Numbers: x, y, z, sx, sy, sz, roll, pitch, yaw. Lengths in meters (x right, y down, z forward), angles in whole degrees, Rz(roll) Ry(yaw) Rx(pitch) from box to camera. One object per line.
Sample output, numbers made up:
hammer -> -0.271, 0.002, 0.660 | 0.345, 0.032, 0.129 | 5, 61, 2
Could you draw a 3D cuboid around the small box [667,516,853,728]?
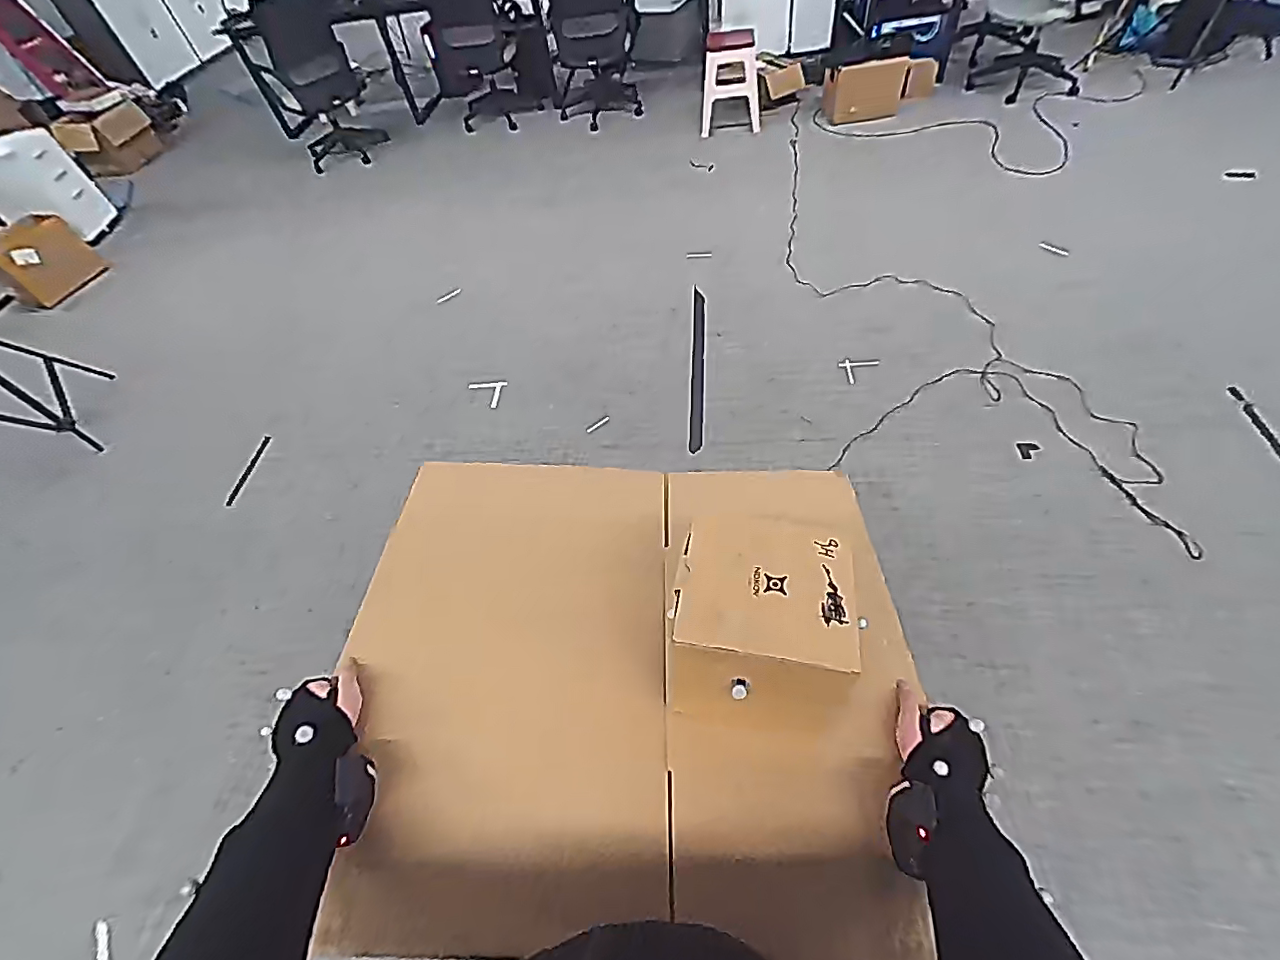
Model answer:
small box -> 0.133, 0.163, 0.619 | 0.179, 0.176, 0.168 | 6, 47, 10
